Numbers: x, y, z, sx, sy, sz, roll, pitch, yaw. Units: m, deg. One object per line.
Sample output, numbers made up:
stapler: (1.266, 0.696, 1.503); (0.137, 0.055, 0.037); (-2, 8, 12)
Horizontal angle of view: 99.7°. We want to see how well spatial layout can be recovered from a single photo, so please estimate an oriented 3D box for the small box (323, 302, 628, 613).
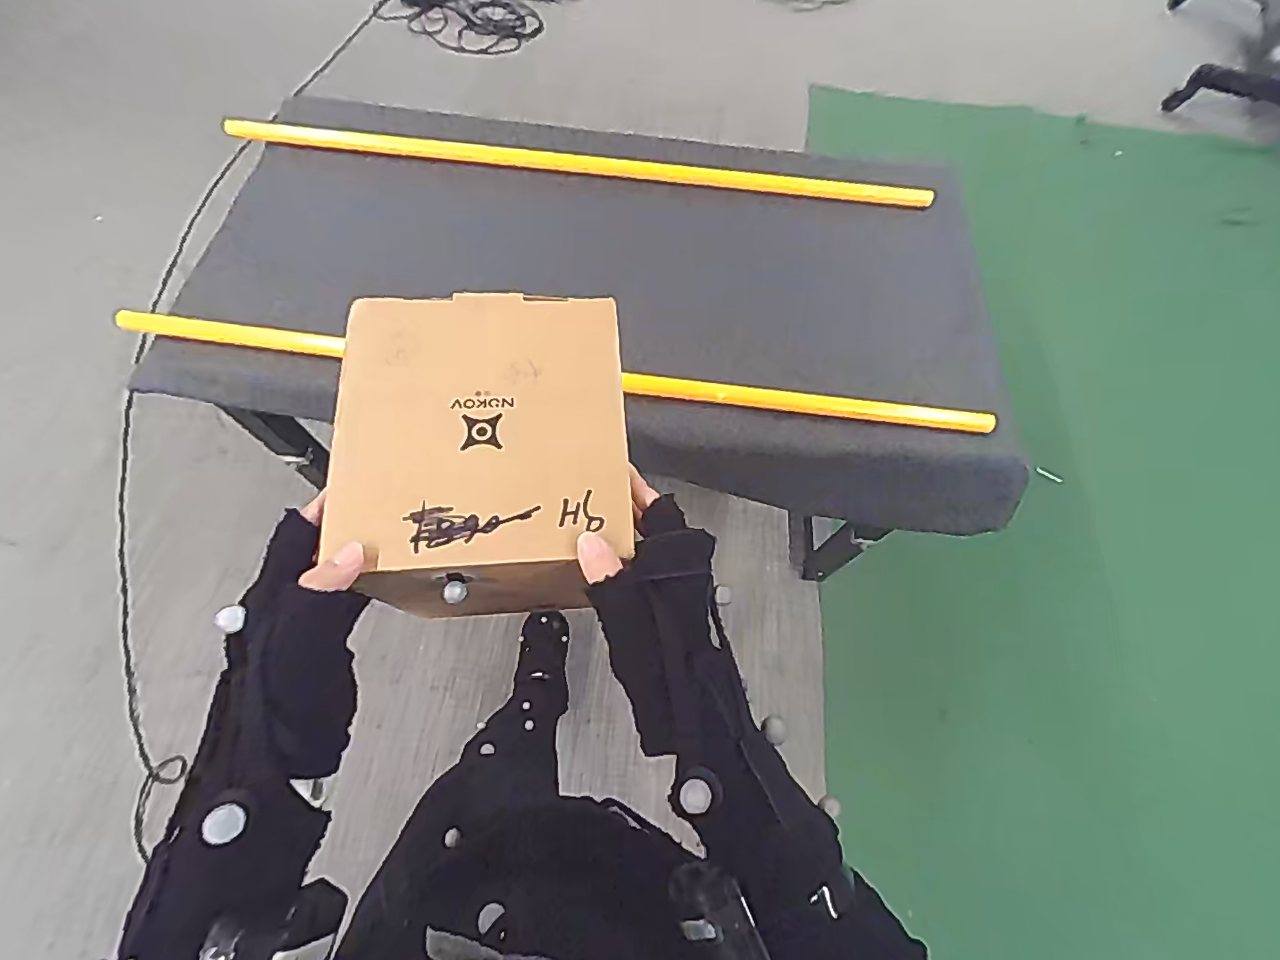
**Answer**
small box: (-0.100, -0.008, 0.400); (0.168, 0.176, 0.179); (-3, 67, -5)
